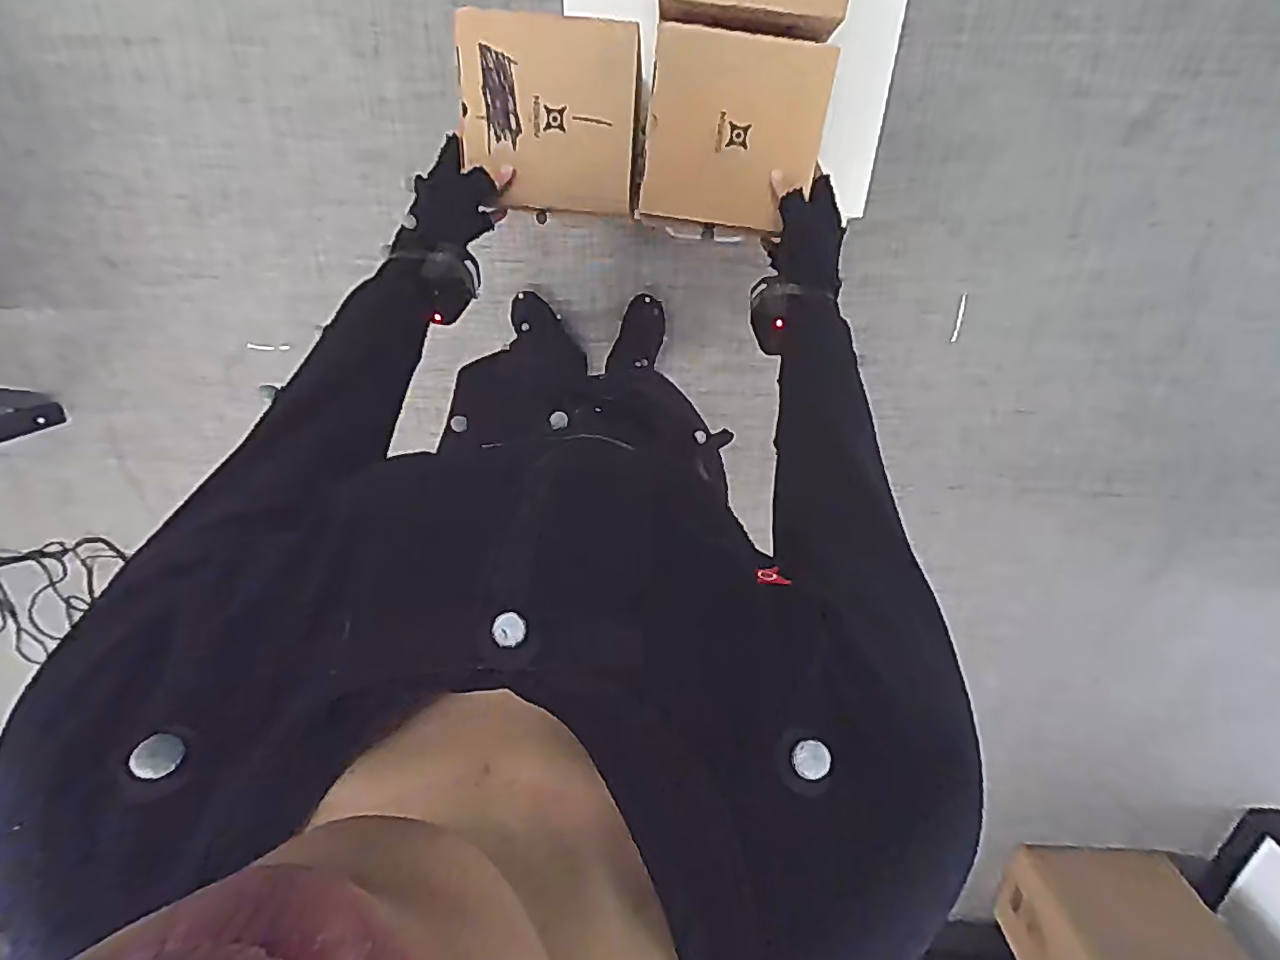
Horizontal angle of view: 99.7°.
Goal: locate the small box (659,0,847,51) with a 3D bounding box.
[{"bbox_3d":[0.114,-0.549,0.529,0.179,0.176,0.168,6,114,0],"label":"small box"}]
